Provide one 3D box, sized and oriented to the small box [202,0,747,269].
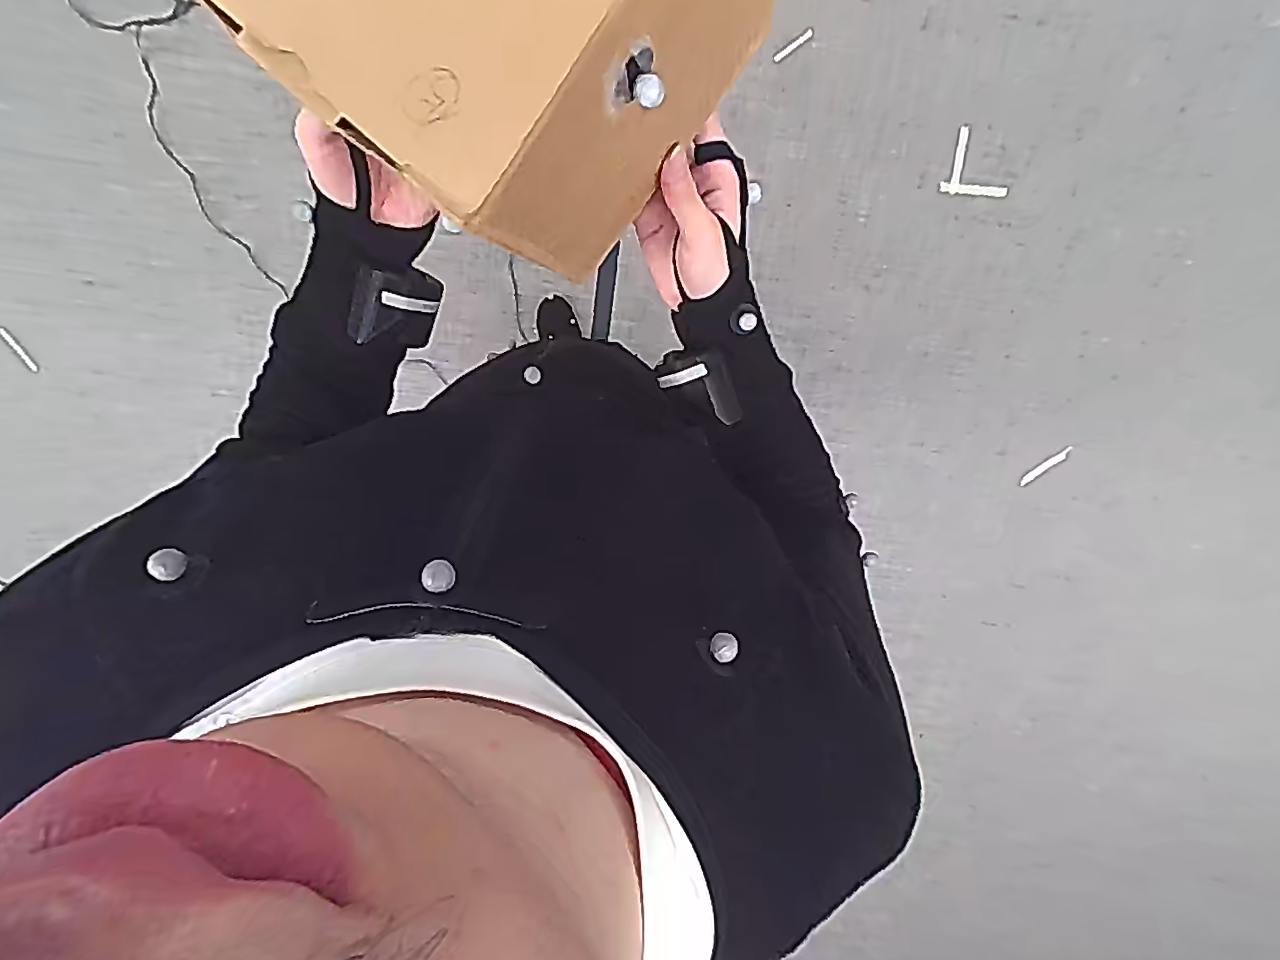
[{"bbox_3d":[-0.059,-0.227,0.255,0.168,0.176,0.179,40,105,-2],"label":"small box"}]
